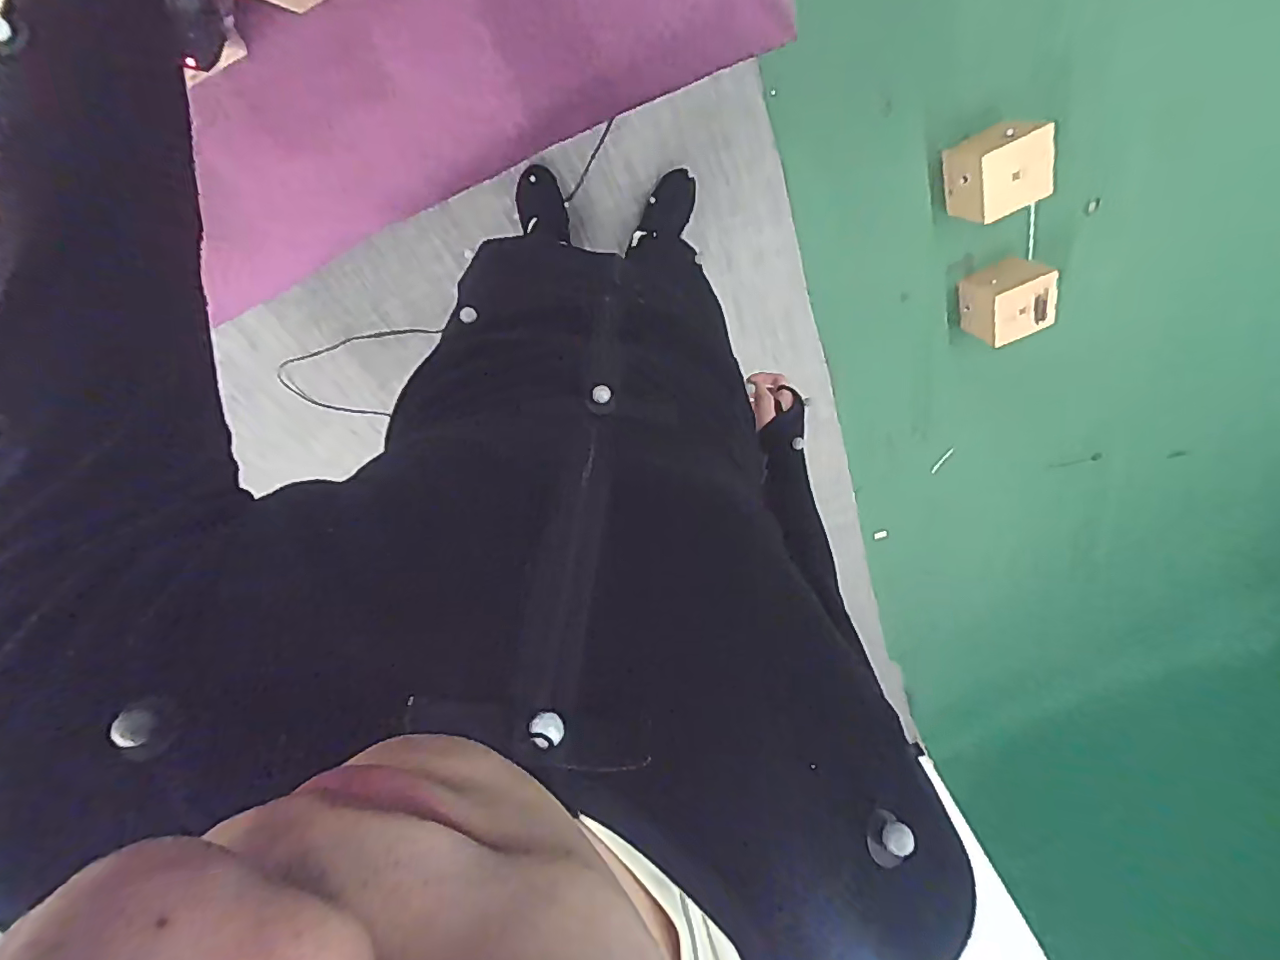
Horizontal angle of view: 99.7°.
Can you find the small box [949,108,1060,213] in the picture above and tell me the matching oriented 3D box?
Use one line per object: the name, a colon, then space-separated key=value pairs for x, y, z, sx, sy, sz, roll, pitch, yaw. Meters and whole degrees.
small box: x=0.901 y=-0.798 z=1.352 sx=0.179 sy=0.176 sz=0.168 roll=-25 pitch=125 yaw=7
